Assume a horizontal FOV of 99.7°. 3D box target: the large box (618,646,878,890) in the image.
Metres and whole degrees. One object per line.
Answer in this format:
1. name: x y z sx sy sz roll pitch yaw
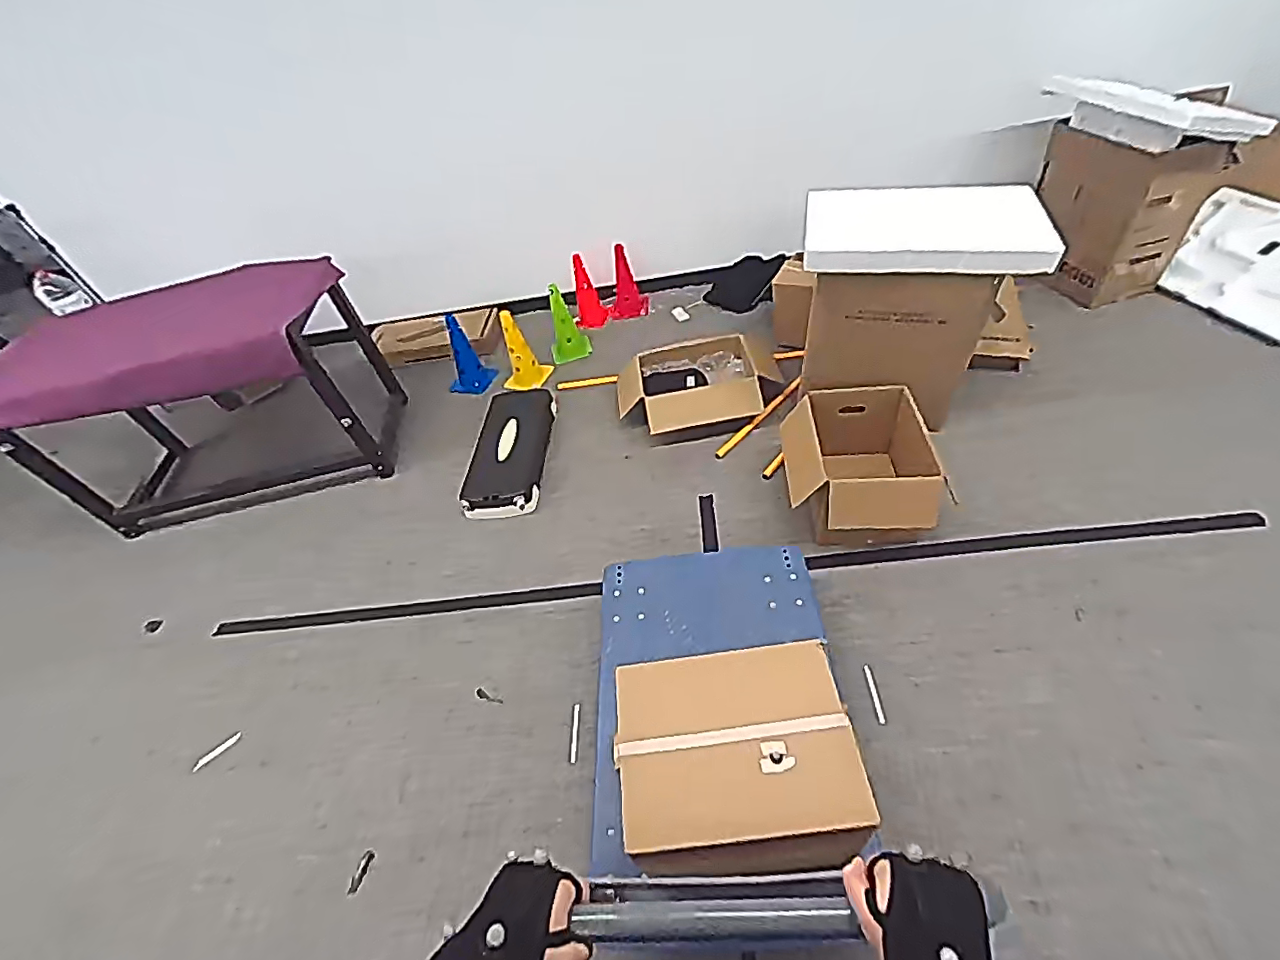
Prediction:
1. large box: 0.183 0.564 1.055 0.408 0.320 0.320 -9 46 2
